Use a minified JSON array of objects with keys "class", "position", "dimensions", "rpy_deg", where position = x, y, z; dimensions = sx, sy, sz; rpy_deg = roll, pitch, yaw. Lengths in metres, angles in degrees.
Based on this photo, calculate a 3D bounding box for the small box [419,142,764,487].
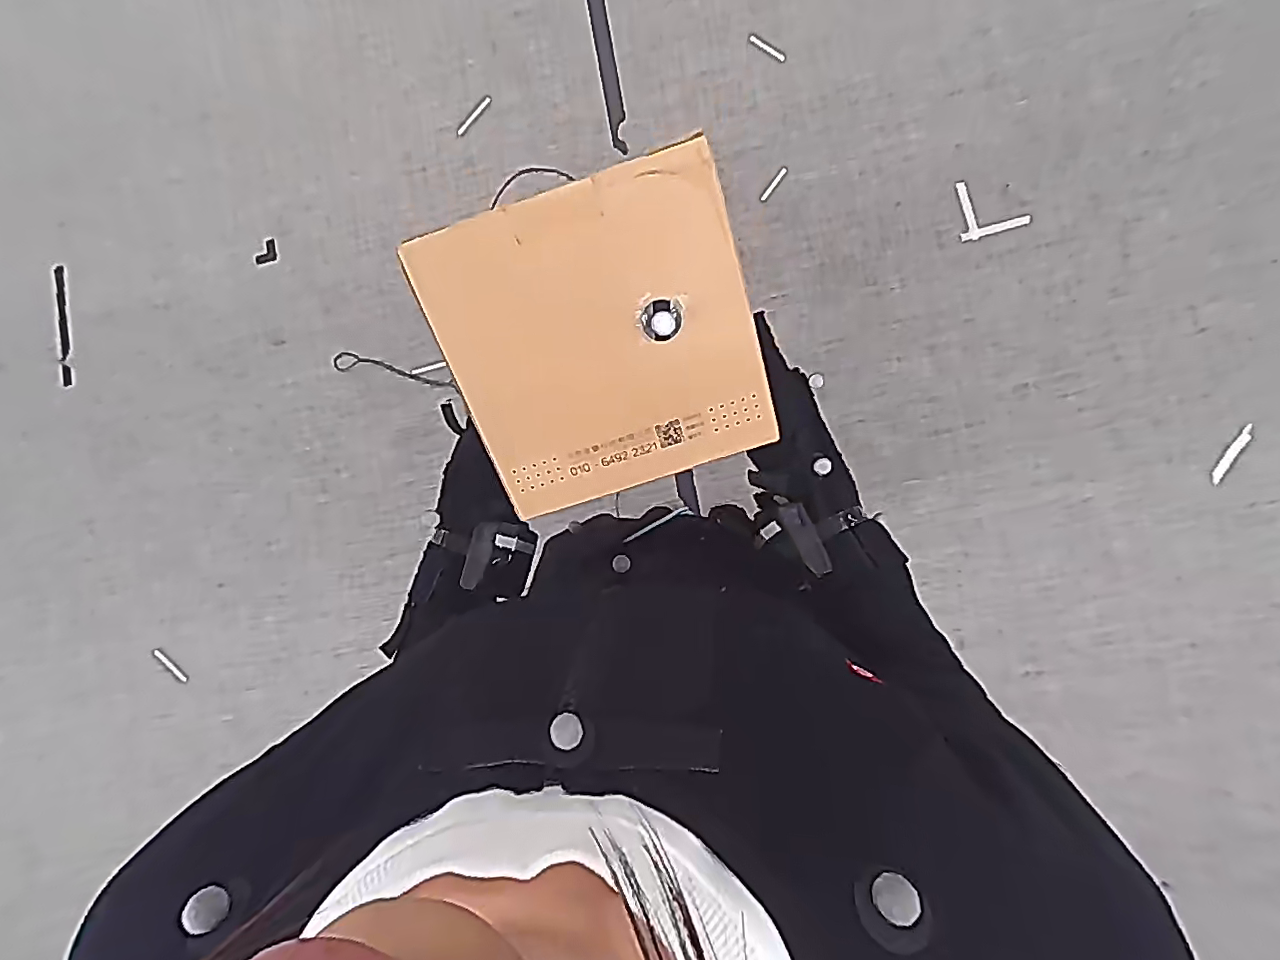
[{"class":"small box","position":[-0.021,-0.110,0.389],"dimensions":[0.168,0.179,0.176],"rpy_deg":[-17,113,5]}]
